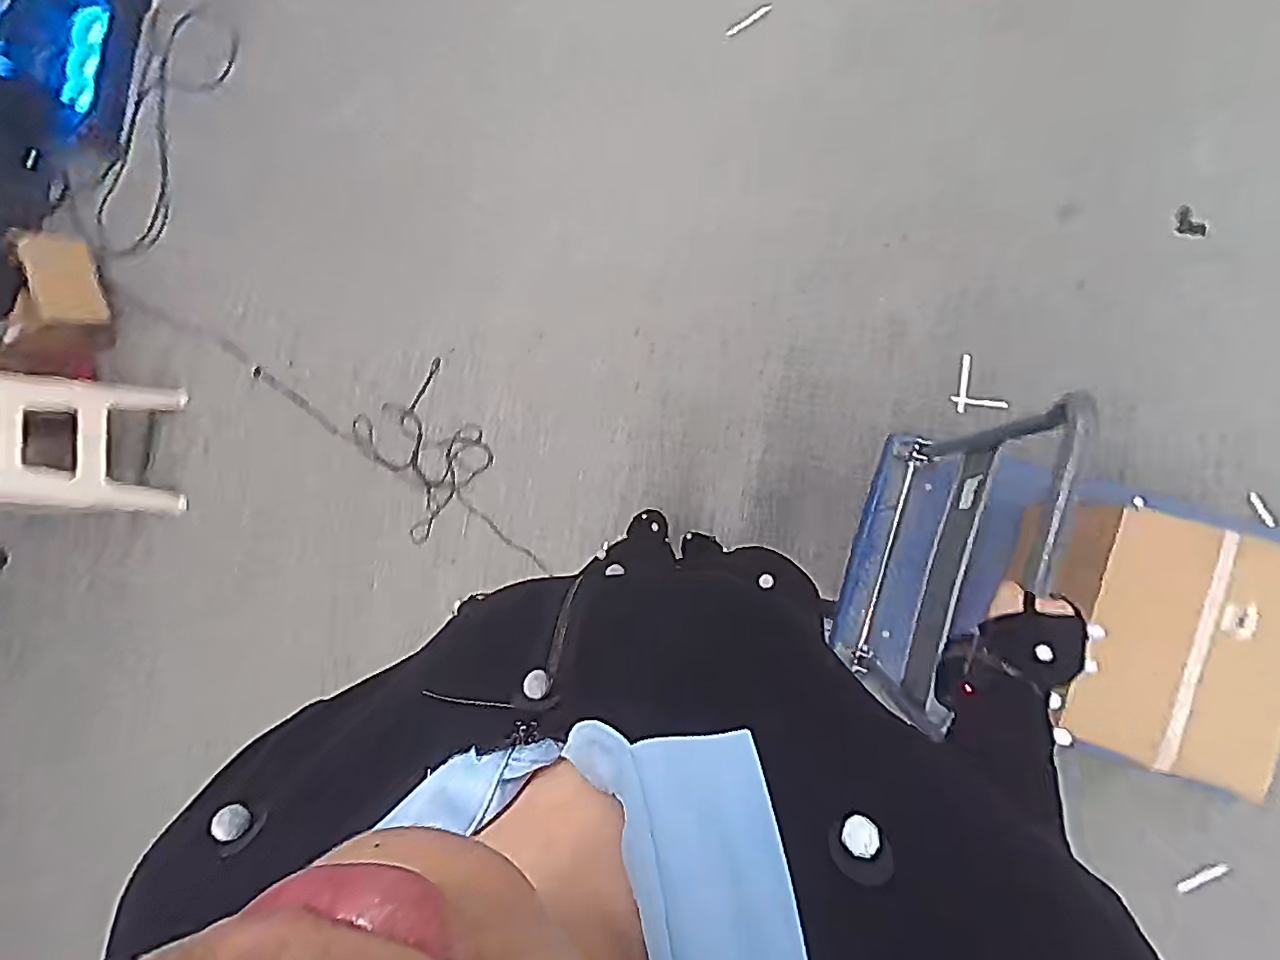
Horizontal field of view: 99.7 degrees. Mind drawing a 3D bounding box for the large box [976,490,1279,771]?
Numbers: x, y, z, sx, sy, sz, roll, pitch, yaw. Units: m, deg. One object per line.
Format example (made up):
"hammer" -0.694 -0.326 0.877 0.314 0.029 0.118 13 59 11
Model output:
"large box" 0.925 0.259 1.055 0.320 0.320 0.408 16 88 8
